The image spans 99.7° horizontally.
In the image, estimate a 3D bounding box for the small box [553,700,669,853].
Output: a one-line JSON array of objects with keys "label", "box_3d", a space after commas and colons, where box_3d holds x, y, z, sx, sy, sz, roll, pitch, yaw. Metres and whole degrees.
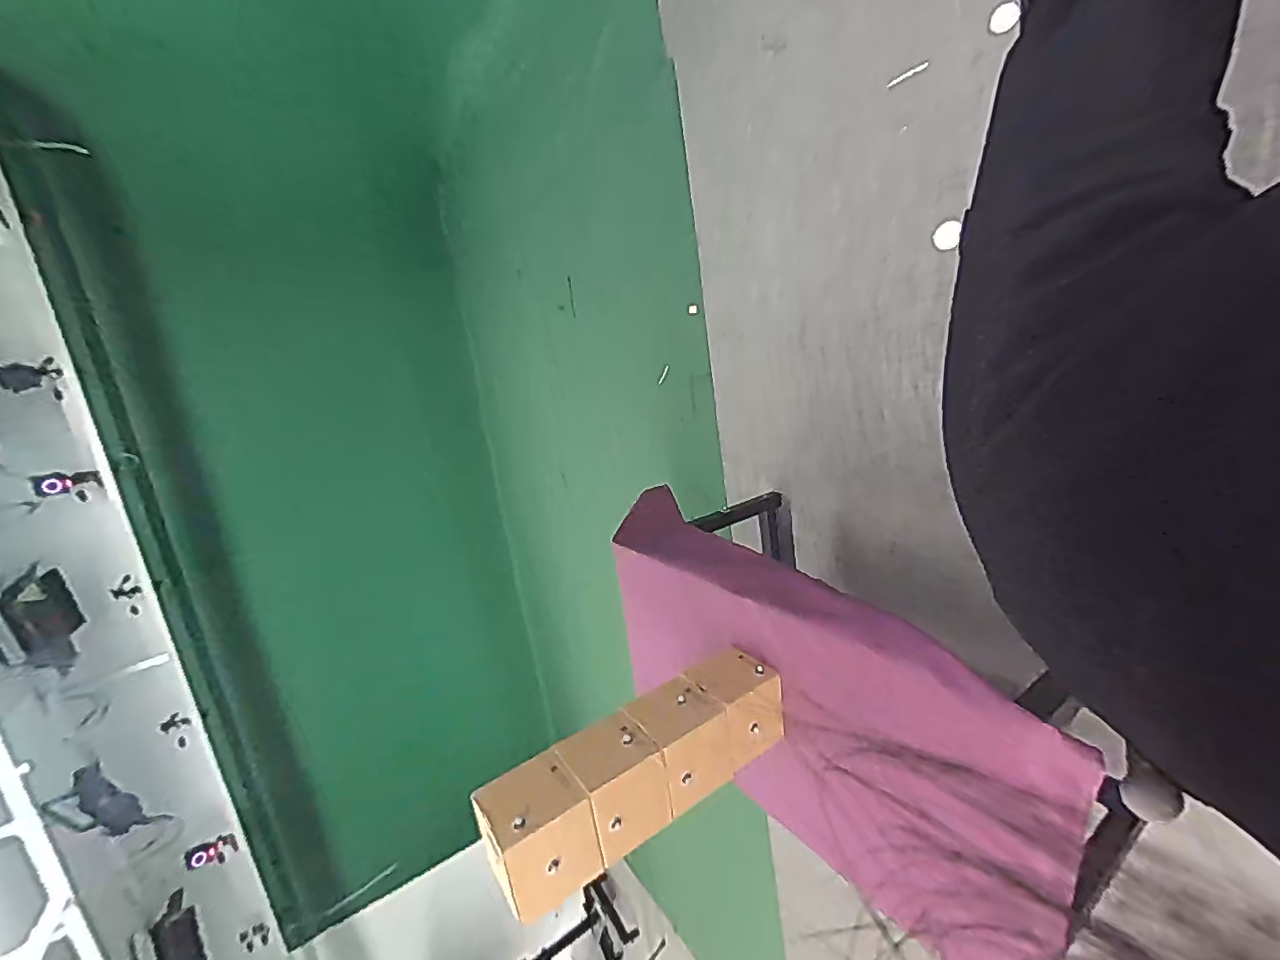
[{"label": "small box", "box_3d": [-0.055, 0.588, 1.098, 0.168, 0.176, 0.179, 14, 116, 55]}]

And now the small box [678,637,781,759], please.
[{"label": "small box", "box_3d": [0.211, 0.496, 1.264, 0.168, 0.176, 0.179, 15, 117, 55]}]

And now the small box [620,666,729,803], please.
[{"label": "small box", "box_3d": [0.078, 0.544, 1.180, 0.168, 0.176, 0.179, 14, 116, 55]}]
